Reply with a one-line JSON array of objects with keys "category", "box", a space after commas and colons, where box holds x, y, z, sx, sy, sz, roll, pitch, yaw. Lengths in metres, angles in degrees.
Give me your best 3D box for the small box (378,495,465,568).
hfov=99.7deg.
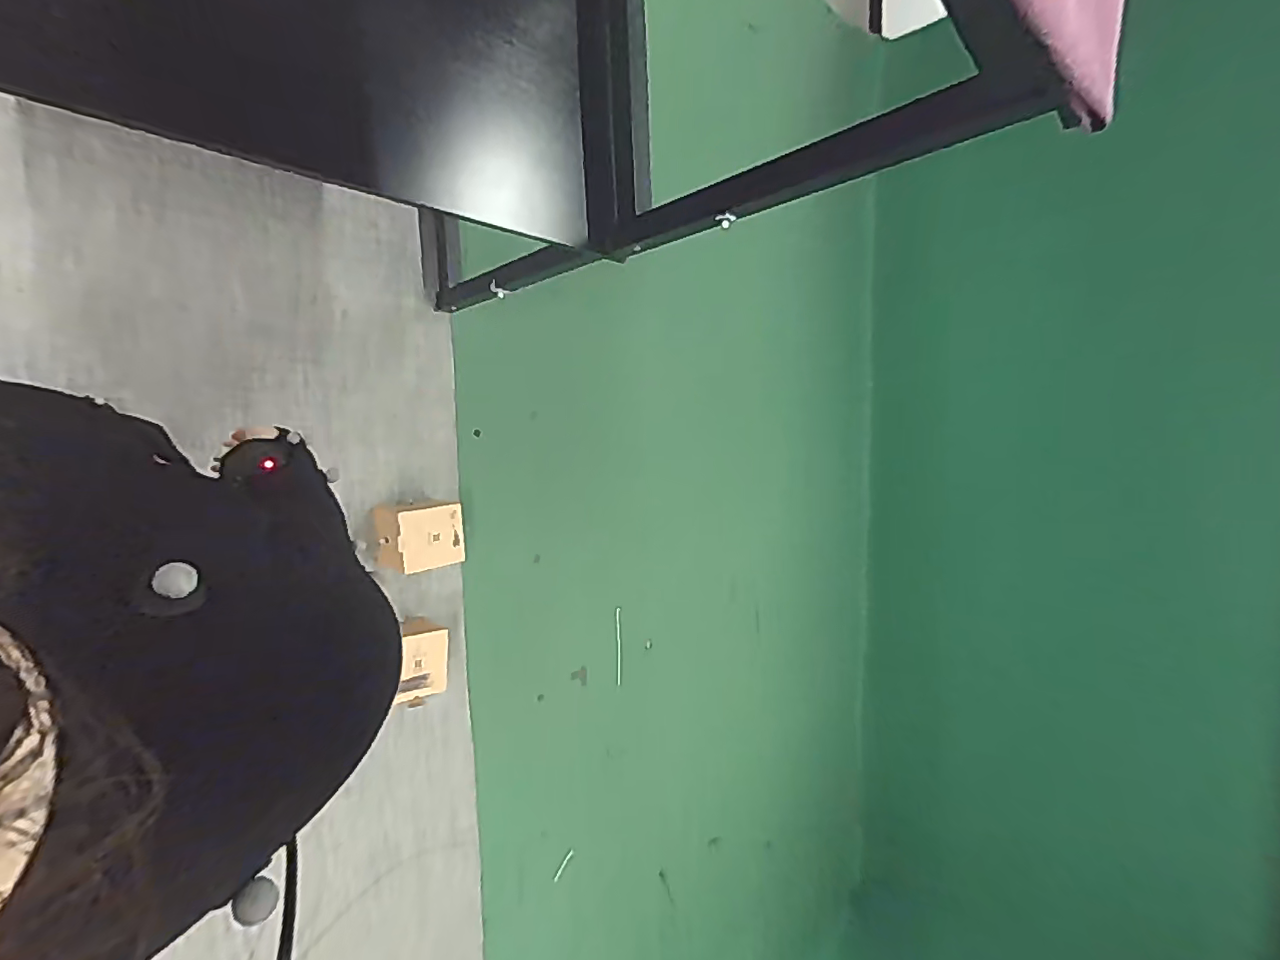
[{"category": "small box", "box": [-0.606, 0.136, 1.486, 0.179, 0.176, 0.168, -9, 99, -45]}]
